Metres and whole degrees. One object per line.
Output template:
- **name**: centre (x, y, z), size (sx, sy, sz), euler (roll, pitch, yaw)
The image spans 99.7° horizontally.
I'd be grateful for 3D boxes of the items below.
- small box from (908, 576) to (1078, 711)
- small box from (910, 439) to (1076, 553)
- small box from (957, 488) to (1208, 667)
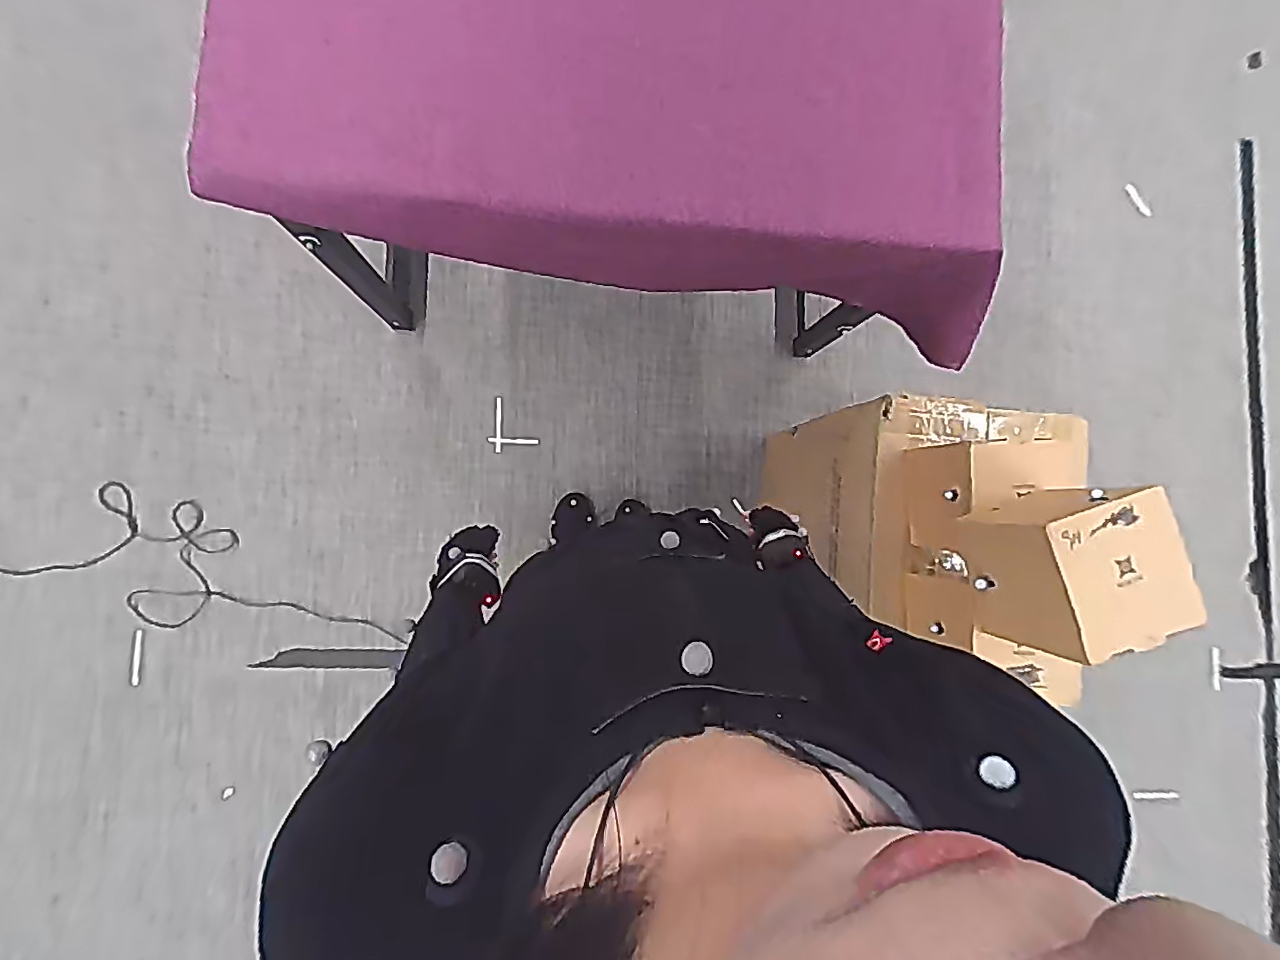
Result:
- **small box**: centre (0.555, 0.253, 0.869), size (0.168, 0.176, 0.179), euler (4, 84, -6)
- **small box**: centre (0.566, 0.030, 0.885), size (0.168, 0.176, 0.179), euler (-1, 88, -5)
- **small box**: centre (0.565, 0.116, 0.714), size (0.168, 0.176, 0.179), euler (-17, 88, -7)
